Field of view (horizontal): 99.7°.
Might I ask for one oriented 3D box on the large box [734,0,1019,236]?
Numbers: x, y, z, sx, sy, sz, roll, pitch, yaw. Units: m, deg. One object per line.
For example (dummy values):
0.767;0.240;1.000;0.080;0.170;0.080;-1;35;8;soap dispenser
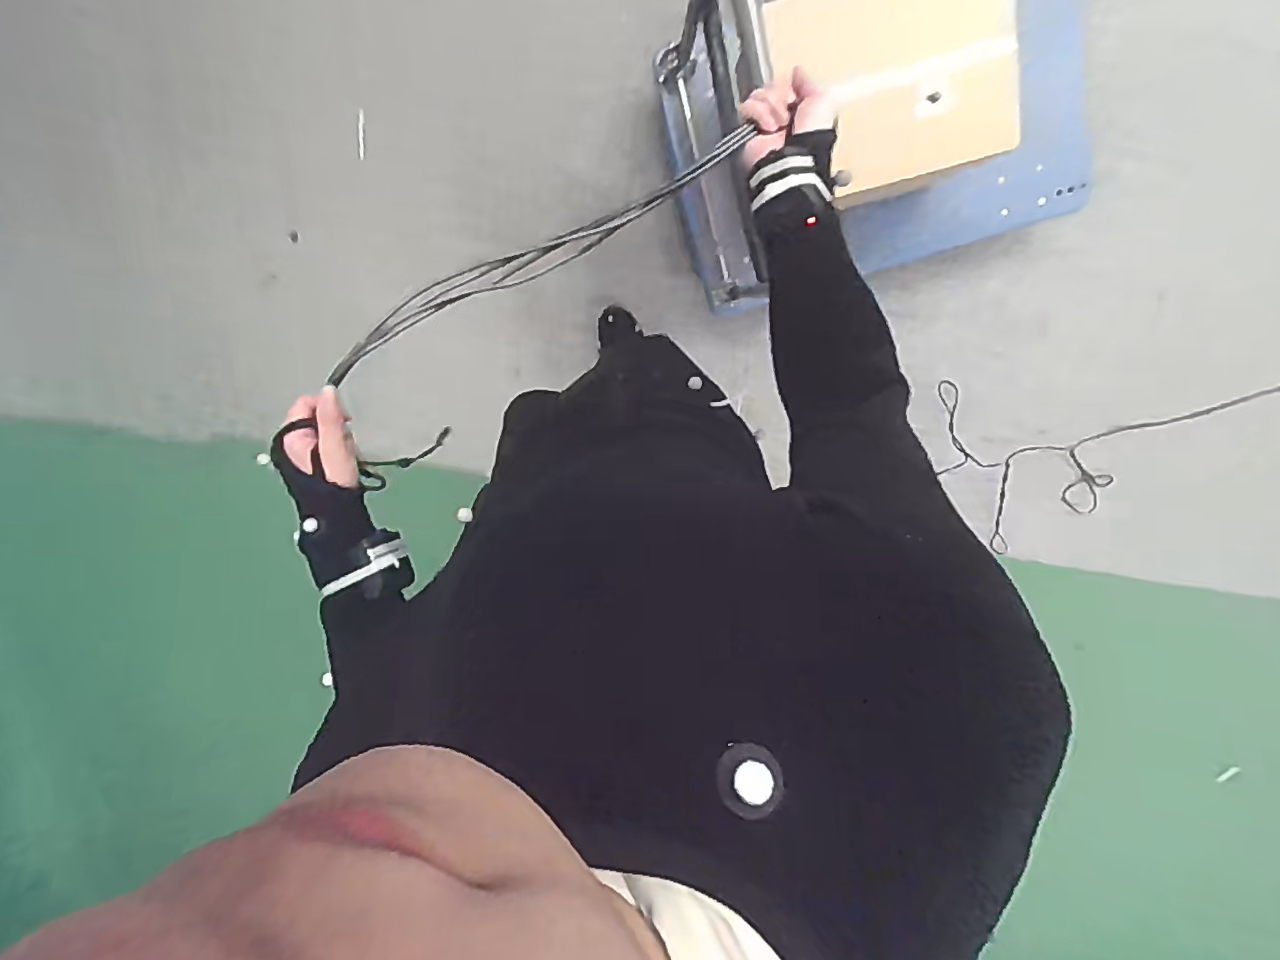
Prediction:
0.424;-0.701;1.042;0.408;0.320;0.320;-12;108;6;large box
